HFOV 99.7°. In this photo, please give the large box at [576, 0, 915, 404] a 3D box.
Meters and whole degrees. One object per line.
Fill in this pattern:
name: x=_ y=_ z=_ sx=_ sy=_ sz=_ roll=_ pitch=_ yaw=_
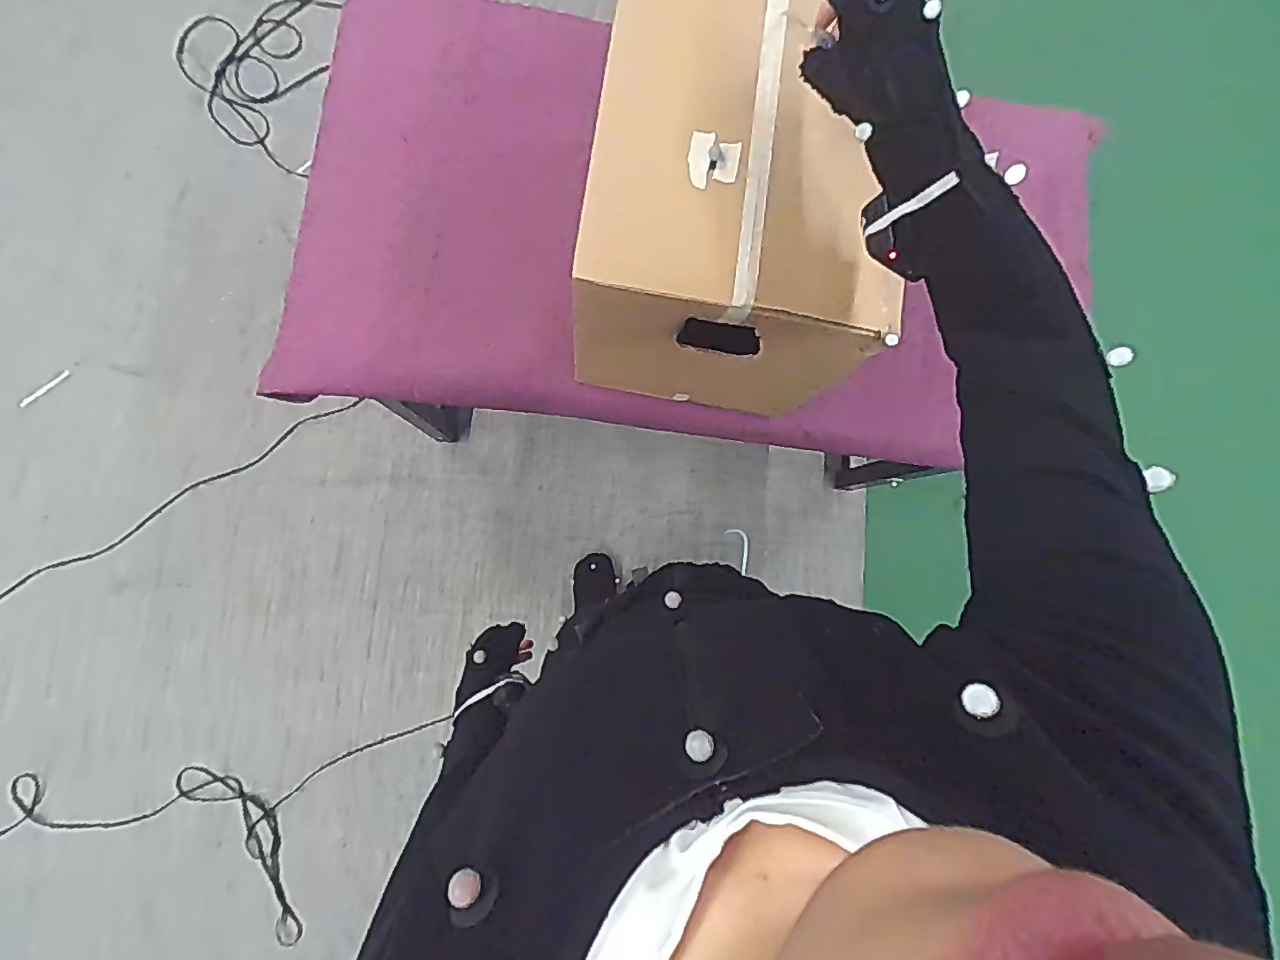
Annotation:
large box: x=0.100 y=-0.345 z=0.682 sx=0.320 sy=0.320 sz=0.408 roll=9 pitch=83 yaw=-5
